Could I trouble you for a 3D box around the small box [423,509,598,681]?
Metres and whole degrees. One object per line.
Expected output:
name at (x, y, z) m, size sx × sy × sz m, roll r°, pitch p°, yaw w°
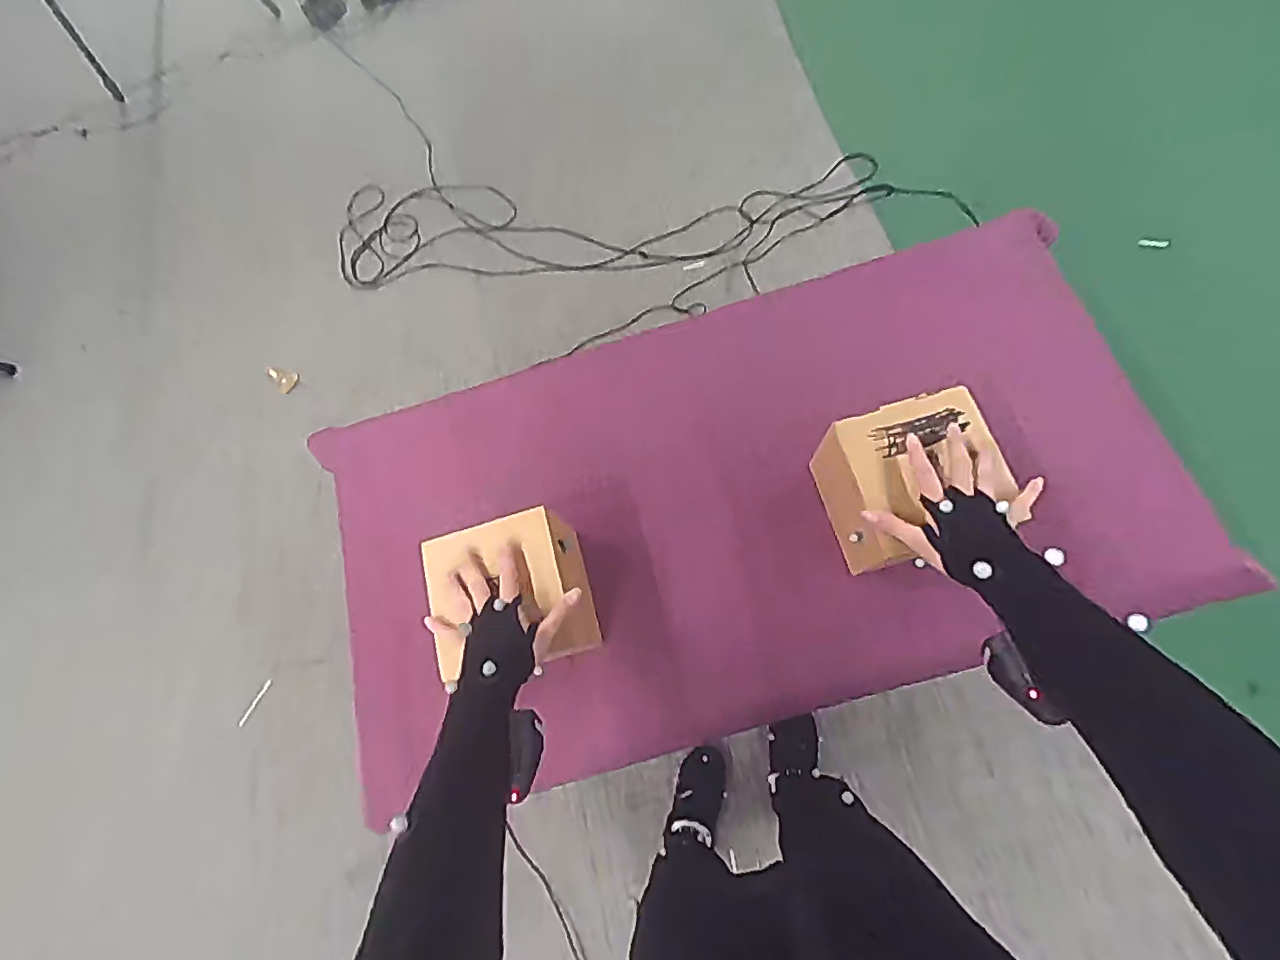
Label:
small box at (-0.167, 0.161, 0.732) m, size 0.168 × 0.176 × 0.179 m, roll -17°, pitch 71°, yaw 3°
